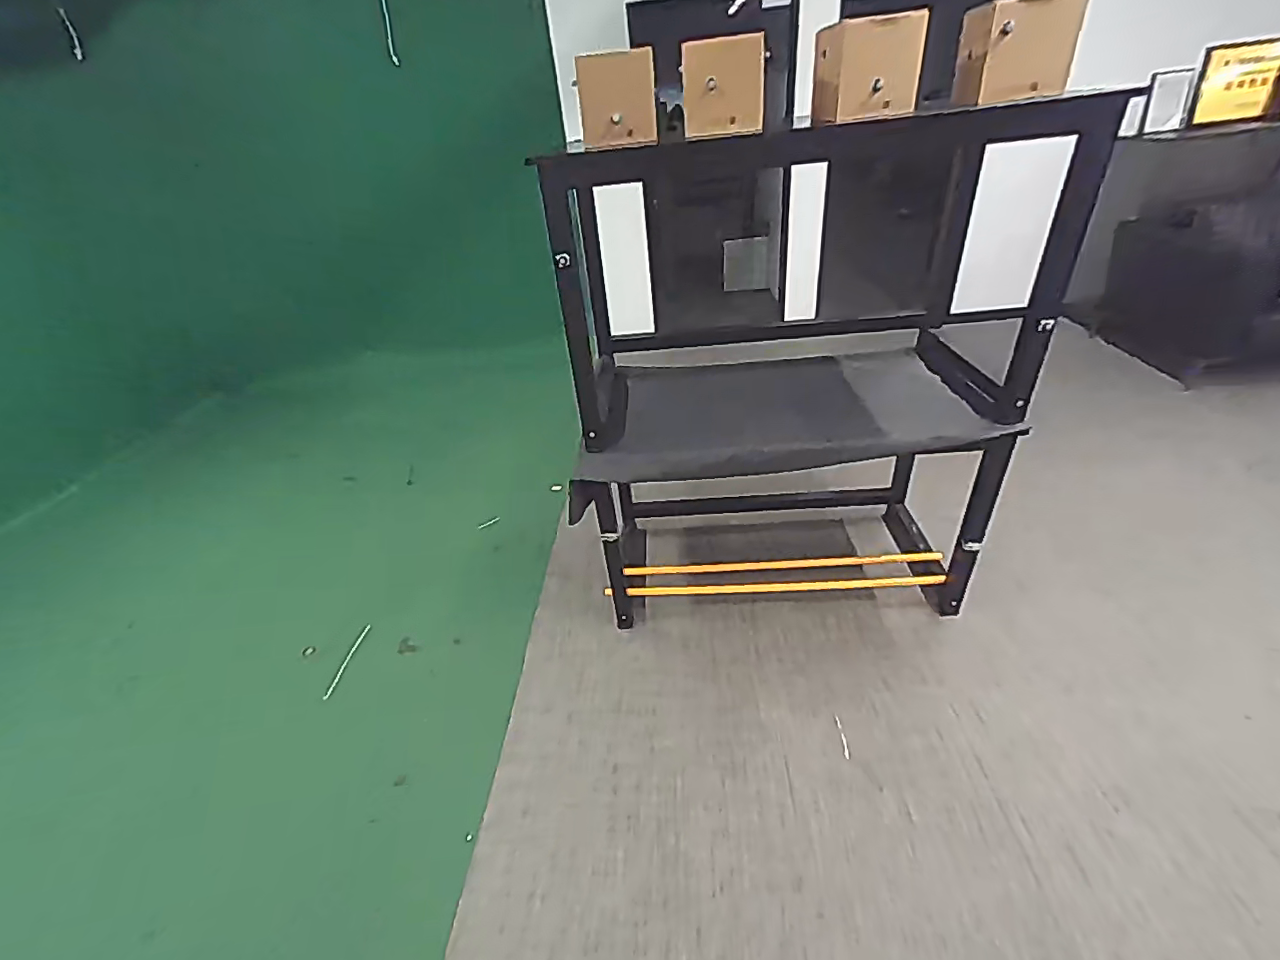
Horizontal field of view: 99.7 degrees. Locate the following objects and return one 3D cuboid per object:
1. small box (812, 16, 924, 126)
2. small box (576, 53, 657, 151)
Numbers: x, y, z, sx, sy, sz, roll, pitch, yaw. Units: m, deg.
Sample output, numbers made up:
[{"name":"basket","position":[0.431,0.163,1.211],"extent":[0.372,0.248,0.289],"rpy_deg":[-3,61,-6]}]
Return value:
[{"name":"small box","position":[0.480,-0.876,1.172],"extent":[0.168,0.176,0.179],"rpy_deg":[-7,34,1]},{"name":"small box","position":[-0.053,-0.862,1.244],"extent":[0.168,0.176,0.179],"rpy_deg":[-7,34,-1]}]
